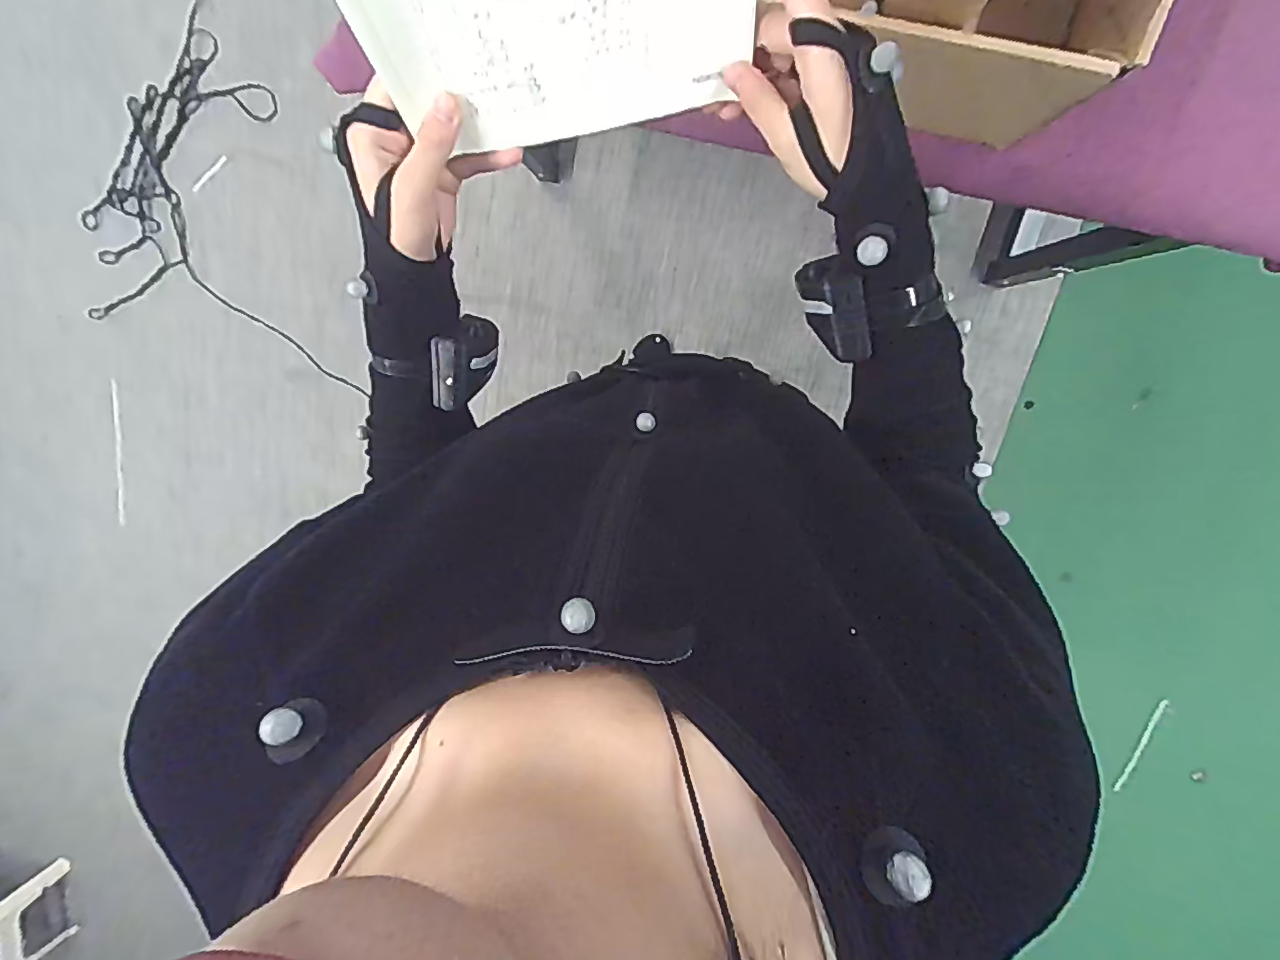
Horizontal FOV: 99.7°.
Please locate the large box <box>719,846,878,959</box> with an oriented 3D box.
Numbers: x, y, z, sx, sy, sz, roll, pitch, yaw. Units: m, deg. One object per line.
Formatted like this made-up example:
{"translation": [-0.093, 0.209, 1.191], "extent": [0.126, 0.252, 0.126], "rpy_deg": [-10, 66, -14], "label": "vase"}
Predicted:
{"translation": [0.449, 1.357, 1.615], "extent": [0.408, 0.320, 0.320], "rpy_deg": [-1, 103, 6], "label": "large box"}
